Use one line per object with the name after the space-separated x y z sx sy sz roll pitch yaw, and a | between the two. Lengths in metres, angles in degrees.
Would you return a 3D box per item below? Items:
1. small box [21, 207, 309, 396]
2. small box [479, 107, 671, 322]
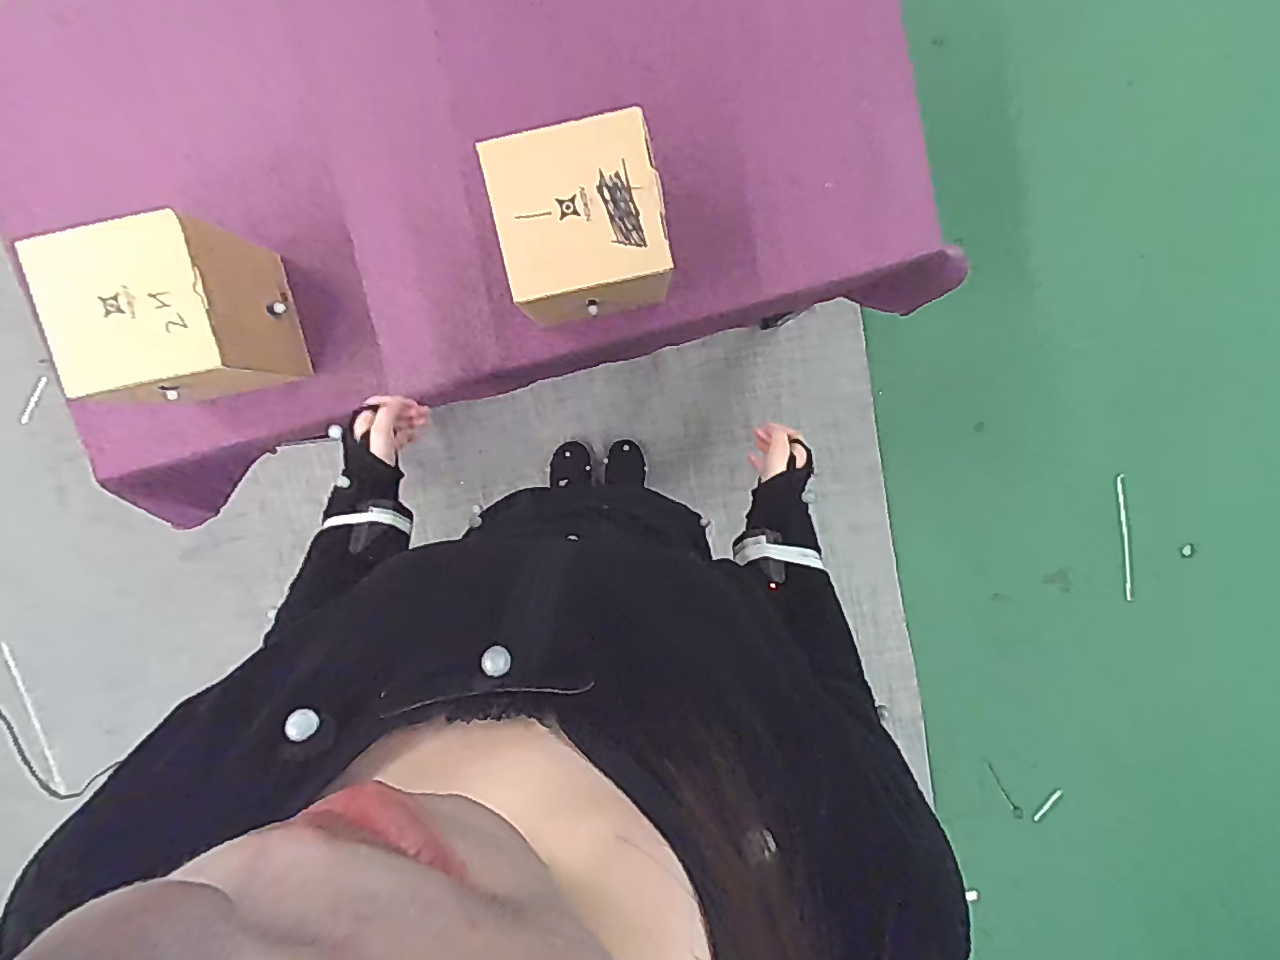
-0.544 -0.197 0.647 0.179 0.176 0.168 -11 97 0 | small box
-0.067 -0.296 0.642 0.179 0.176 0.168 -12 97 2 | small box
